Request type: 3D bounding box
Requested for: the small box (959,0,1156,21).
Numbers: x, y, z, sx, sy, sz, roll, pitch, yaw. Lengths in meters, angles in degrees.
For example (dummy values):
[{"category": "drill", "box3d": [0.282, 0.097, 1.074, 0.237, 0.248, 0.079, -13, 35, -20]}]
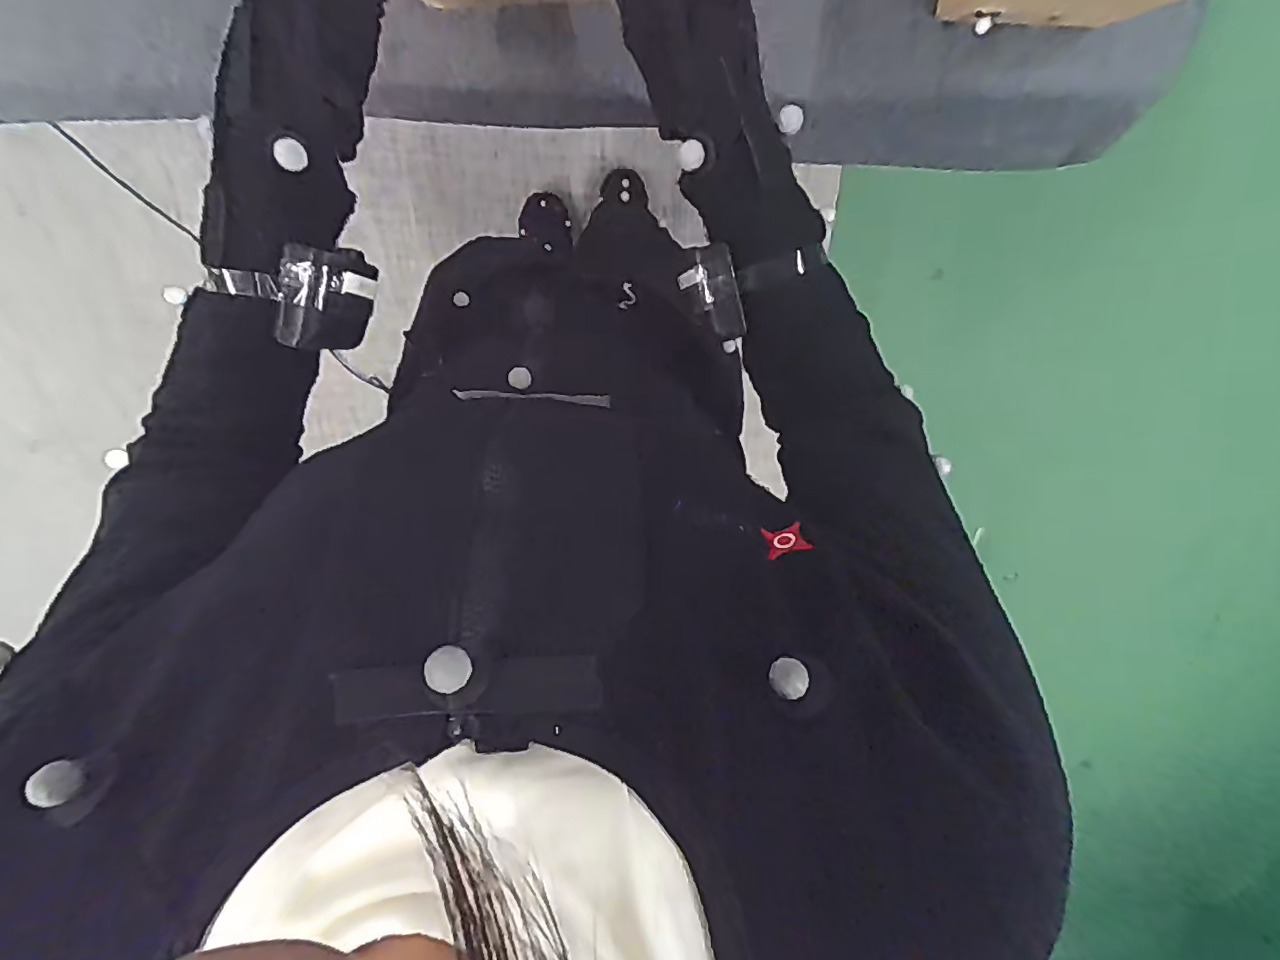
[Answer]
[{"category": "small box", "box3d": [0.360, -0.466, 0.393, 0.168, 0.176, 0.179, -1, 118, -4]}]
